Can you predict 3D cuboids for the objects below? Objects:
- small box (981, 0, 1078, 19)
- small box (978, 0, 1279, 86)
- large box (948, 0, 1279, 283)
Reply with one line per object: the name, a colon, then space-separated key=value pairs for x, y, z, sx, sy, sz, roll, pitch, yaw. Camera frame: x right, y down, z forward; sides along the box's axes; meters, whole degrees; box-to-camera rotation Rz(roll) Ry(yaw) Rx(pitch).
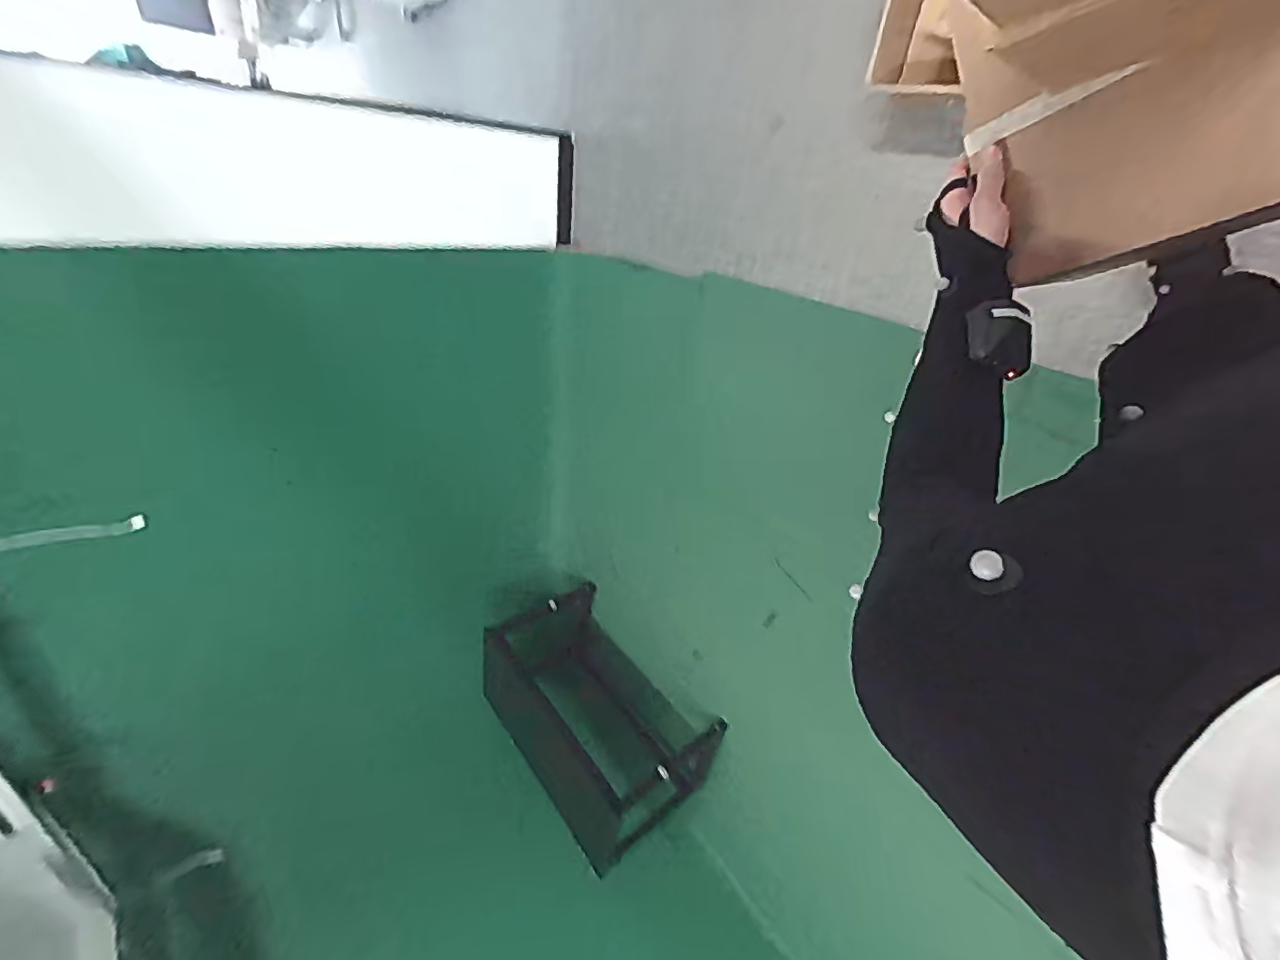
small box: x=0.248 y=-0.360 z=0.250 sx=0.179 sy=0.176 sz=0.168 roll=15 pitch=116 yaw=45
small box: x=0.356 y=-0.405 z=0.365 sx=0.179 sy=0.176 sz=0.168 roll=8 pitch=110 yaw=47
large box: x=0.576 y=-0.409 z=0.493 sx=0.408 sy=0.320 sz=0.320 roll=-9 pitch=99 yaw=50
